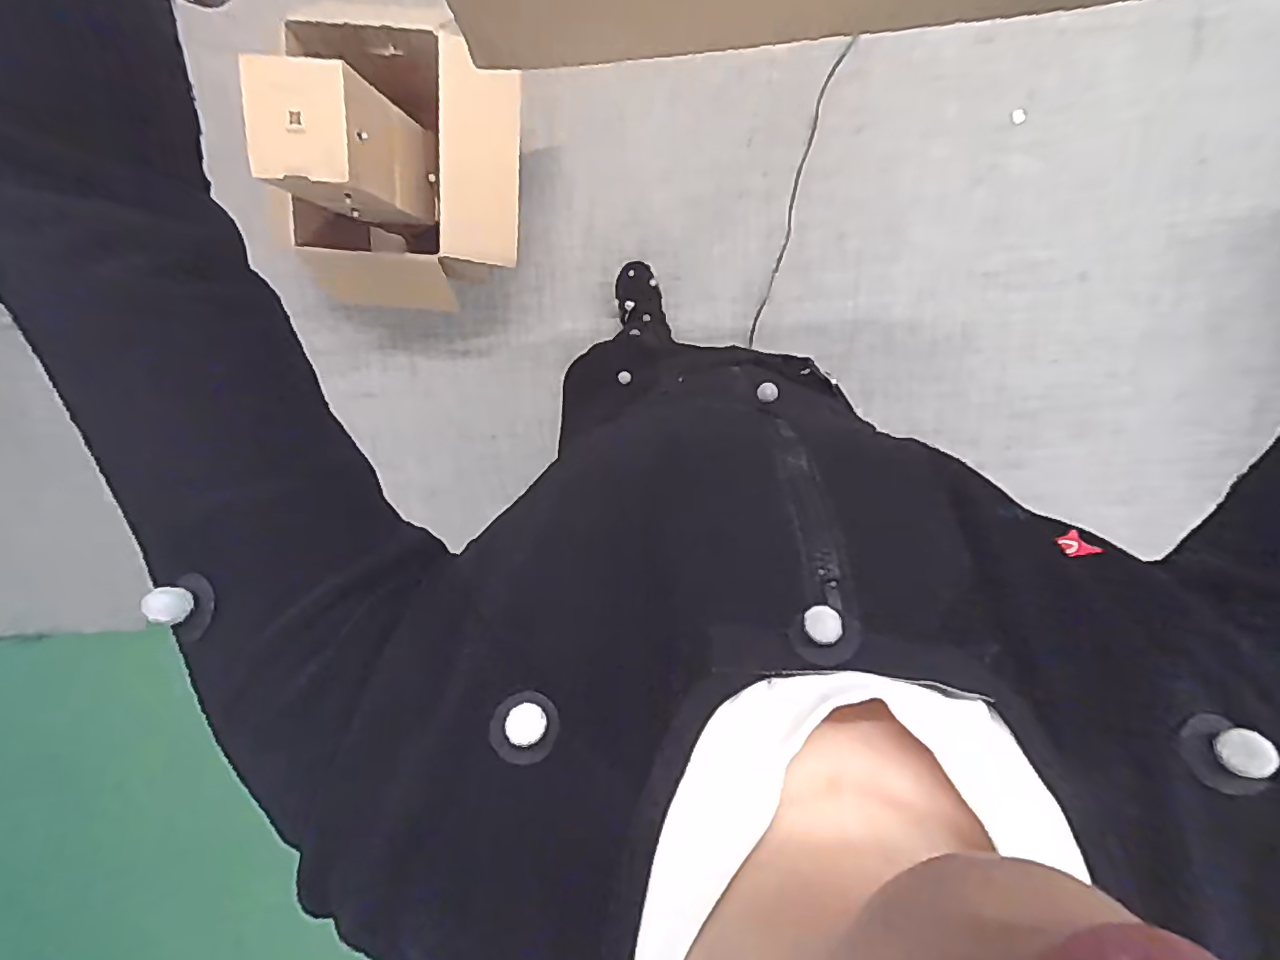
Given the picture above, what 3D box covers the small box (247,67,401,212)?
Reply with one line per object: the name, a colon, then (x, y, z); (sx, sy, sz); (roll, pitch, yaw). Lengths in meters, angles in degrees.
small box: (-0.534, -0.578, 0.941); (0.168, 0.176, 0.179); (3, 104, 1)
